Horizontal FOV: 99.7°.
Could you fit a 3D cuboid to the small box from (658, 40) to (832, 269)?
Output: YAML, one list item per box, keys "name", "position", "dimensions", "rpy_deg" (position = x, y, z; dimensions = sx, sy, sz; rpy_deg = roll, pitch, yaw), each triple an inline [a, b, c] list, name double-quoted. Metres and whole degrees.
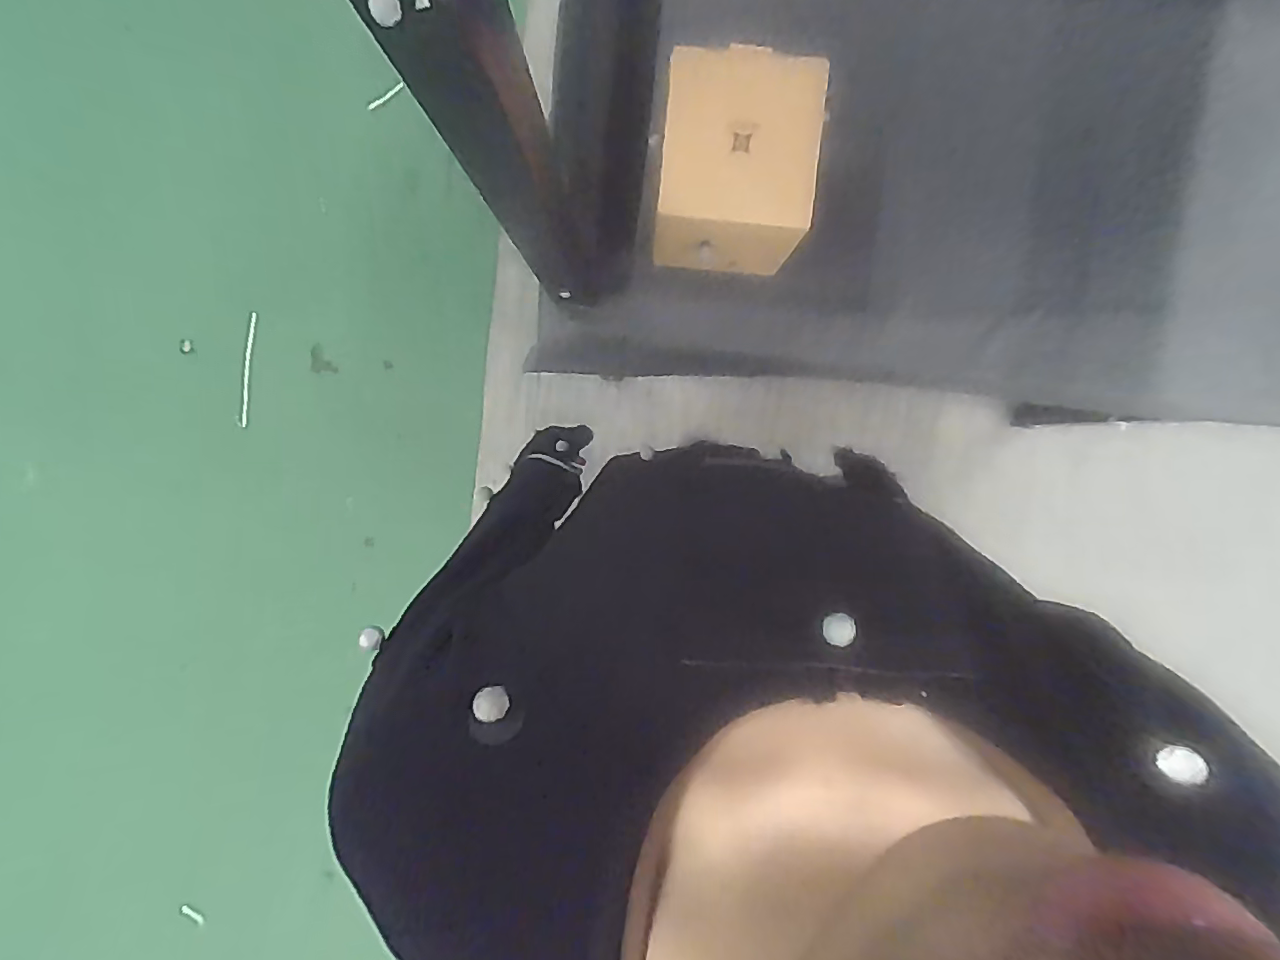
- name: "small box"
  position: [0.111, -0.367, 0.642]
  dimensions: [0.168, 0.176, 0.179]
  rpy_deg: [5, 93, 1]
